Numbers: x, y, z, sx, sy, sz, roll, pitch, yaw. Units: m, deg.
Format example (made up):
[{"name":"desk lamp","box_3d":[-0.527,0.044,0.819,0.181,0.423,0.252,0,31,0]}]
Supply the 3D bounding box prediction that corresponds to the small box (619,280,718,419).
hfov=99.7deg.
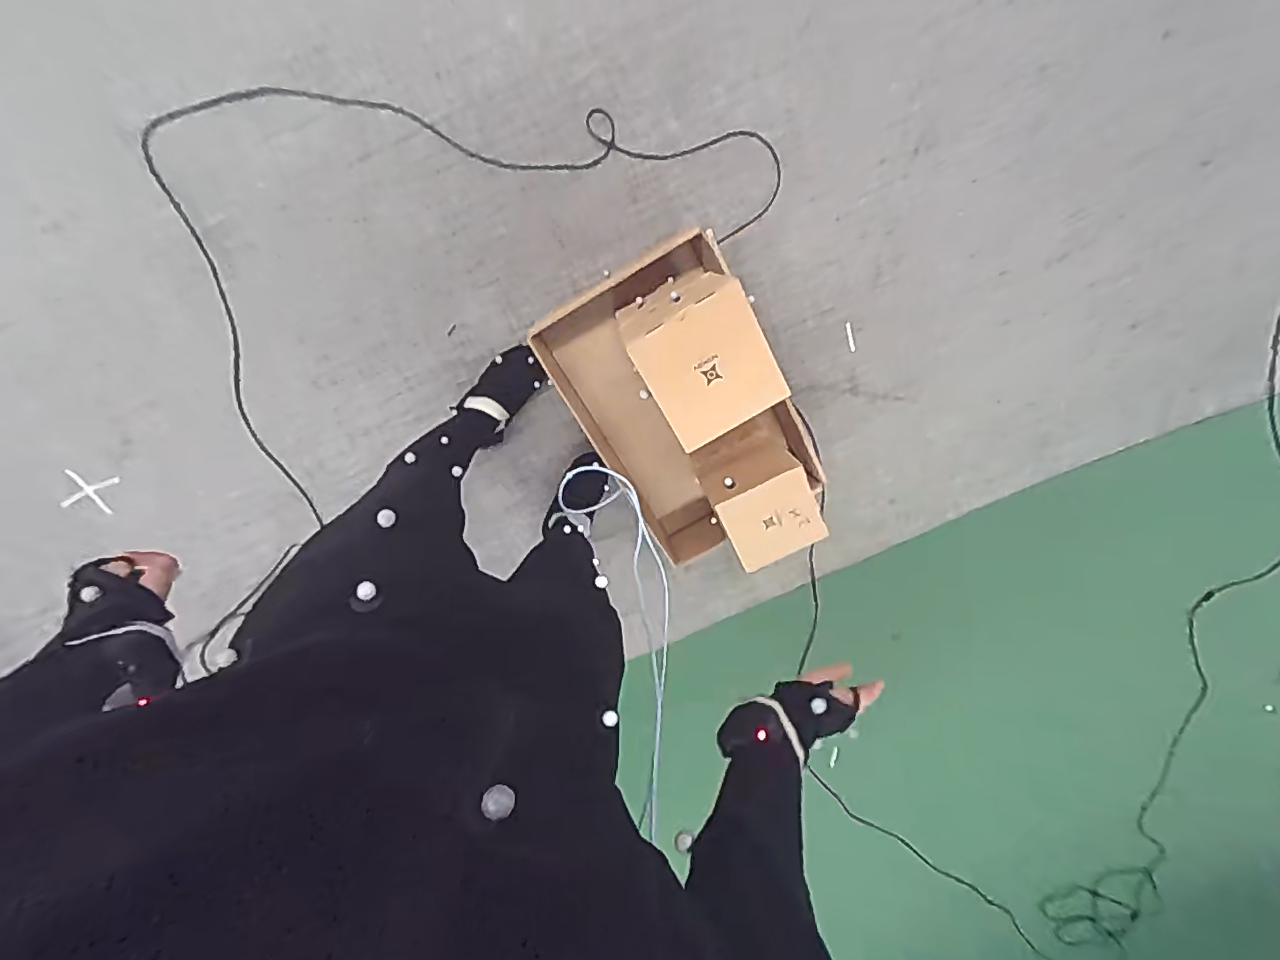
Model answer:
[{"name":"small box","box_3d":[0.071,-0.231,0.938,0.168,0.176,0.179,-25,113,5]}]

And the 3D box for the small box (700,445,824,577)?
[{"name":"small box","box_3d":[0.229,0.054,1.066,0.179,0.176,0.168,-26,113,3]}]

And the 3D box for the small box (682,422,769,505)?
[{"name":"small box","box_3d":[0.206,-0.019,1.213,0.168,0.176,0.179,-25,112,4]}]

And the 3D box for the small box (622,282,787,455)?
[{"name":"small box","box_3d":[0.086,-0.170,0.789,0.168,0.176,0.179,-29,111,7]}]
